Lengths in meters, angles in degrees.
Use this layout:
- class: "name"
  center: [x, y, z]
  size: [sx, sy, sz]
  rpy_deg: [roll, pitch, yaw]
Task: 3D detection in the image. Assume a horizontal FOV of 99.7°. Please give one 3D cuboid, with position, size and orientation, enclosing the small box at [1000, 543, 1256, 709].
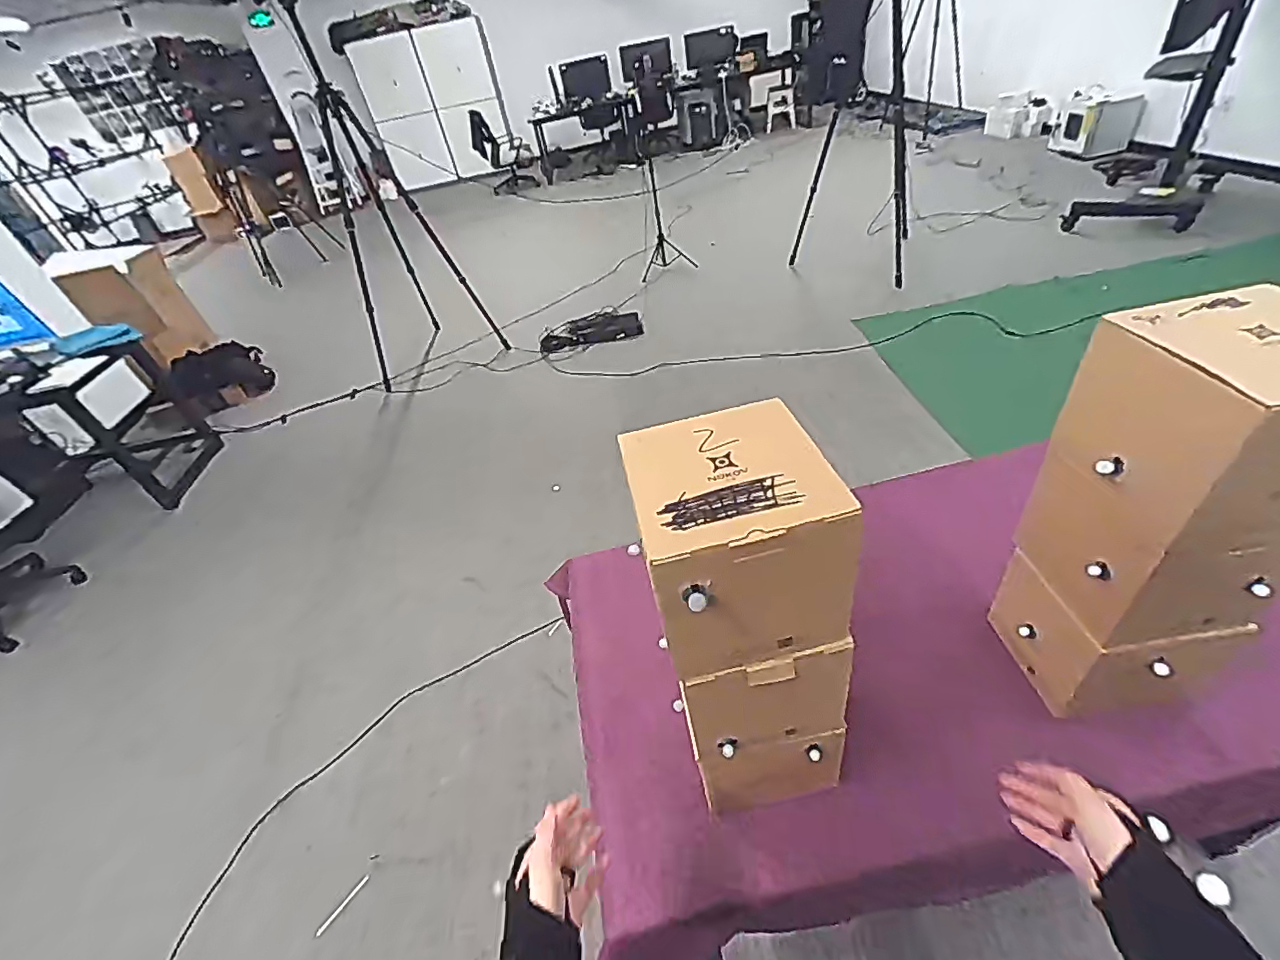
- class: "small box"
  center: [0.614, 0.184, 0.718]
  size: [0.179, 0.176, 0.168]
  rpy_deg: [-11, 41, 4]

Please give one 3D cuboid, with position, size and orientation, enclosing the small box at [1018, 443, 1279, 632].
- class: "small box"
  center: [0.582, 0.057, 0.621]
  size: [0.168, 0.176, 0.179]
  rpy_deg: [-10, 39, 4]

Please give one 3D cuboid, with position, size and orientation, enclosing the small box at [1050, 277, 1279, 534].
- class: "small box"
  center: [0.548, -0.065, 0.516]
  size: [0.168, 0.176, 0.179]
  rpy_deg: [-11, 41, 3]

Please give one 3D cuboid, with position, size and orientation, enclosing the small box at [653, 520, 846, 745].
- class: "small box"
  center: [0.120, 0.178, 0.618]
  size: [0.168, 0.176, 0.179]
  rpy_deg: [-13, 38, 0]

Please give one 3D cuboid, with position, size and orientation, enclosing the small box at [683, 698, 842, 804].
- class: "small box"
  center: [0.152, 0.303, 0.720]
  size: [0.179, 0.176, 0.168]
  rpy_deg: [-13, 39, 1]
